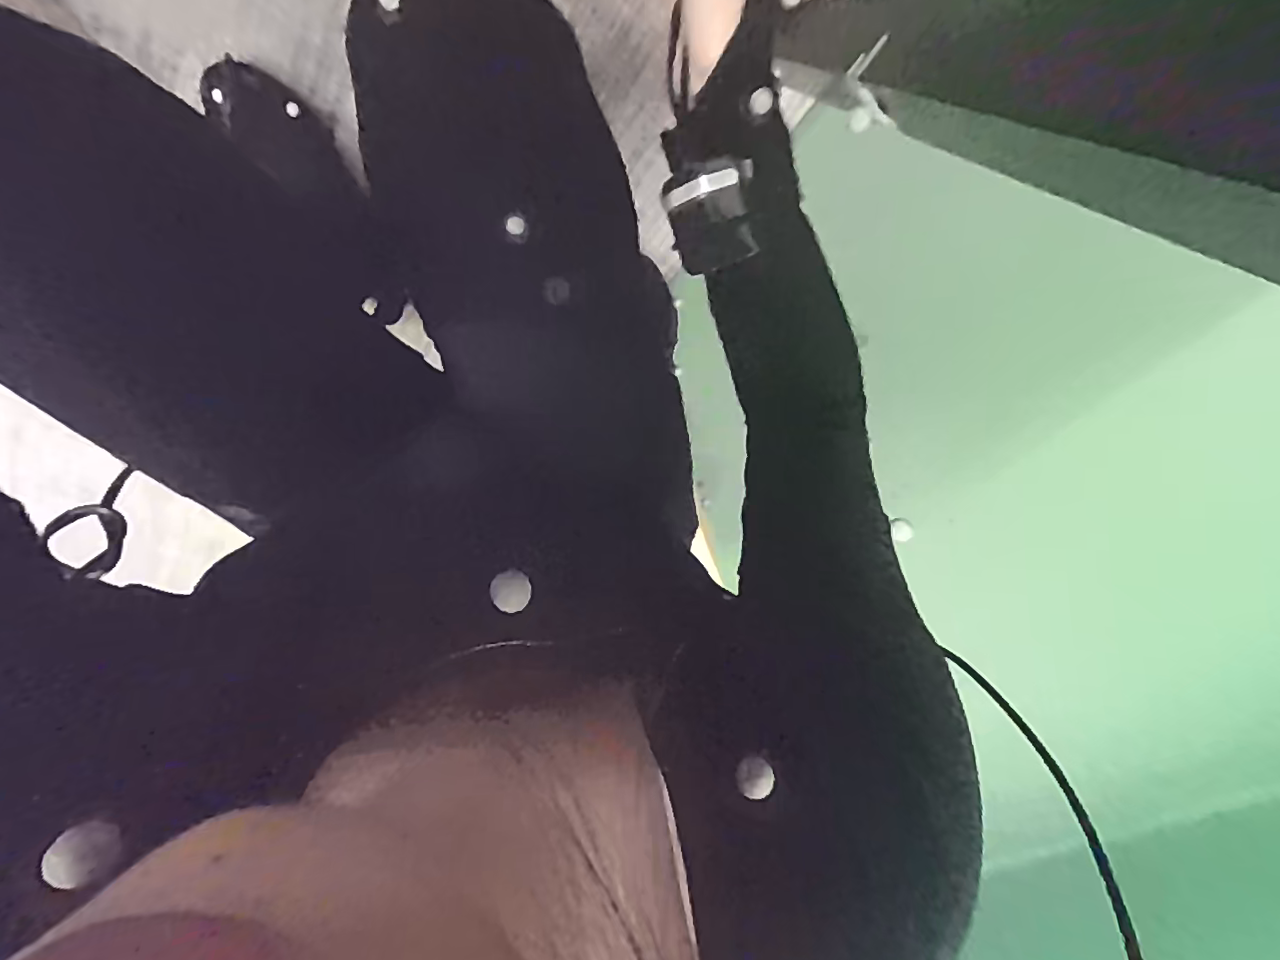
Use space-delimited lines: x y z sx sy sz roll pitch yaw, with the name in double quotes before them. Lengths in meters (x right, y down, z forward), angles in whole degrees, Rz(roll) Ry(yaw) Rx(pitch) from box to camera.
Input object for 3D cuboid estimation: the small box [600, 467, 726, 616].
"small box" 0.035 0.097 0.914 0.168 0.176 0.179 -16 129 9
